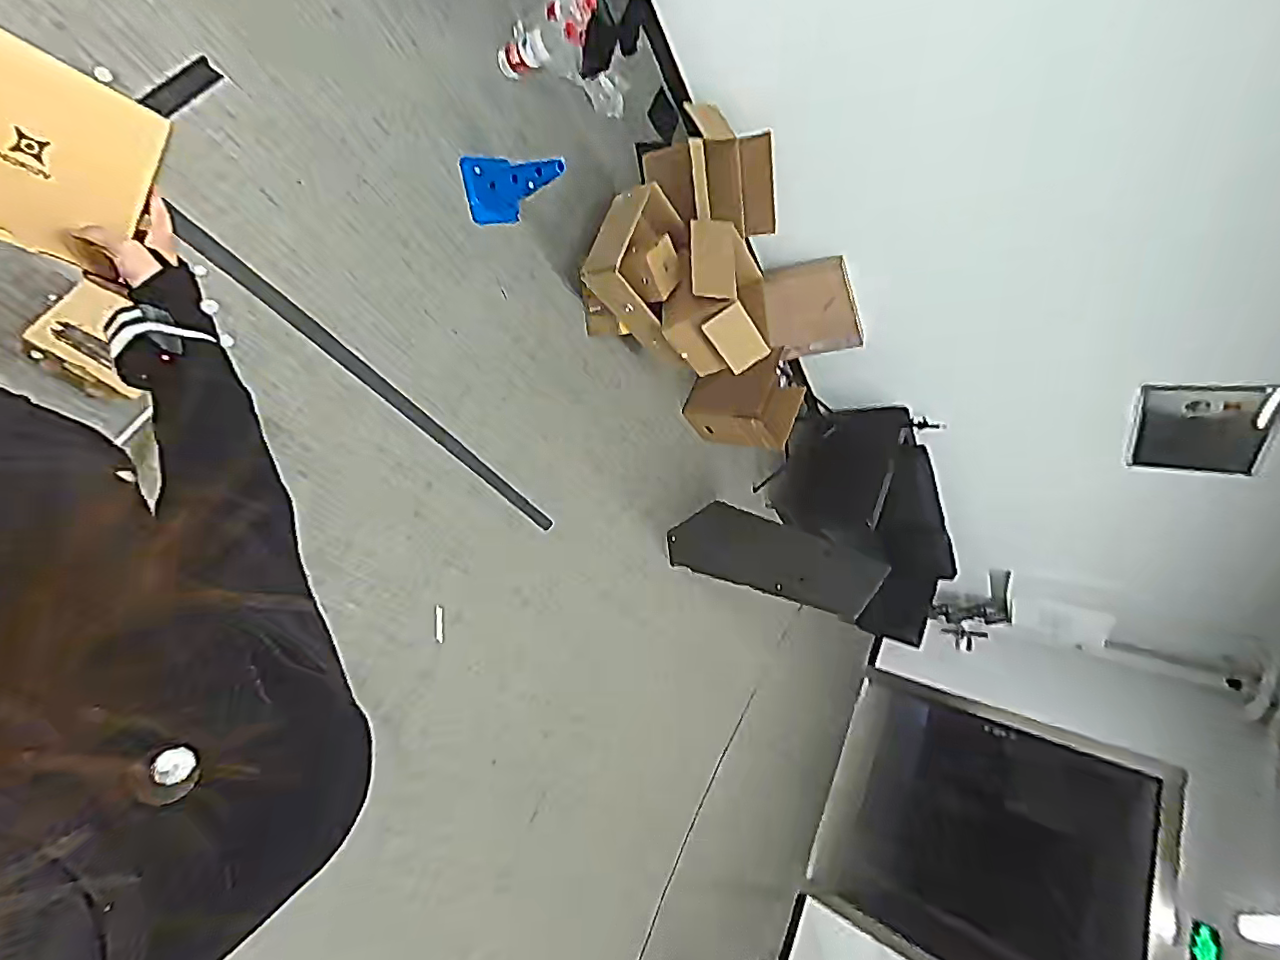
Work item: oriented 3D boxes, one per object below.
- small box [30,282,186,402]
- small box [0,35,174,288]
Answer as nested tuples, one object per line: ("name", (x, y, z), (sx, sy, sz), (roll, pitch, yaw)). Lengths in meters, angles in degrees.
("small box", (-1.107, -0.284, 1.123), (0.168, 0.176, 0.179), (45, 64, -44))
("small box", (-0.613, -0.332, 0.556), (0.168, 0.176, 0.179), (18, 105, -45))
